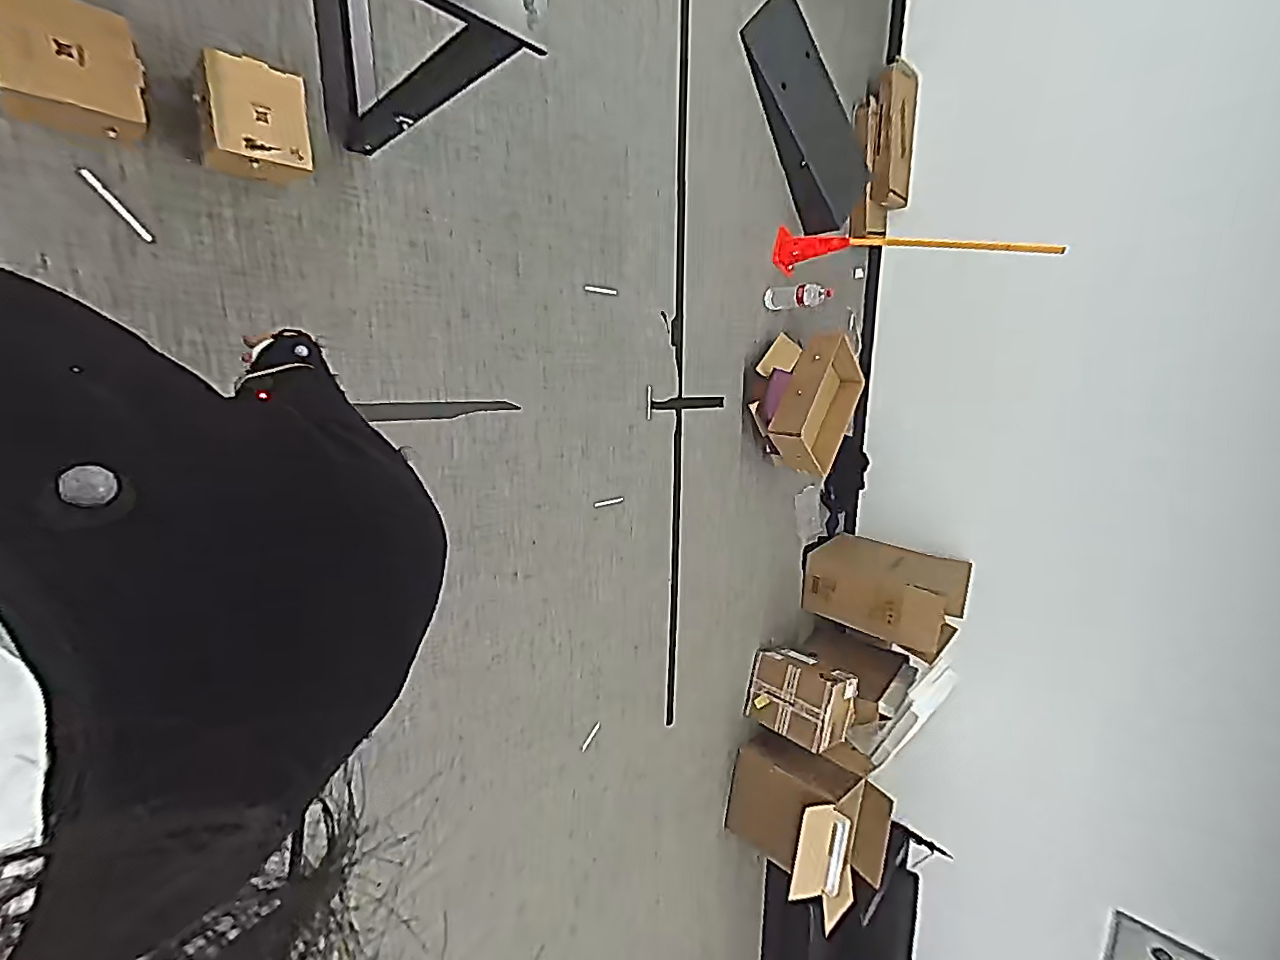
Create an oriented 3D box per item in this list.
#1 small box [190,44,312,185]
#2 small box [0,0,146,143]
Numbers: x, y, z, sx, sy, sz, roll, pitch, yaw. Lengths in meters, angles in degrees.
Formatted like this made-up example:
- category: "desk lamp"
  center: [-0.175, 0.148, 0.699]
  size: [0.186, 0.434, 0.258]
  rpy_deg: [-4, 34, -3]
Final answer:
- category: "small box"
  center: [-0.804, -0.738, 1.117]
  size: [0.168, 0.176, 0.179]
  rpy_deg: [-12, 107, -44]
- category: "small box"
  center: [-0.988, -0.708, 0.931]
  size: [0.179, 0.176, 0.168]
  rpy_deg: [-11, 106, -44]
